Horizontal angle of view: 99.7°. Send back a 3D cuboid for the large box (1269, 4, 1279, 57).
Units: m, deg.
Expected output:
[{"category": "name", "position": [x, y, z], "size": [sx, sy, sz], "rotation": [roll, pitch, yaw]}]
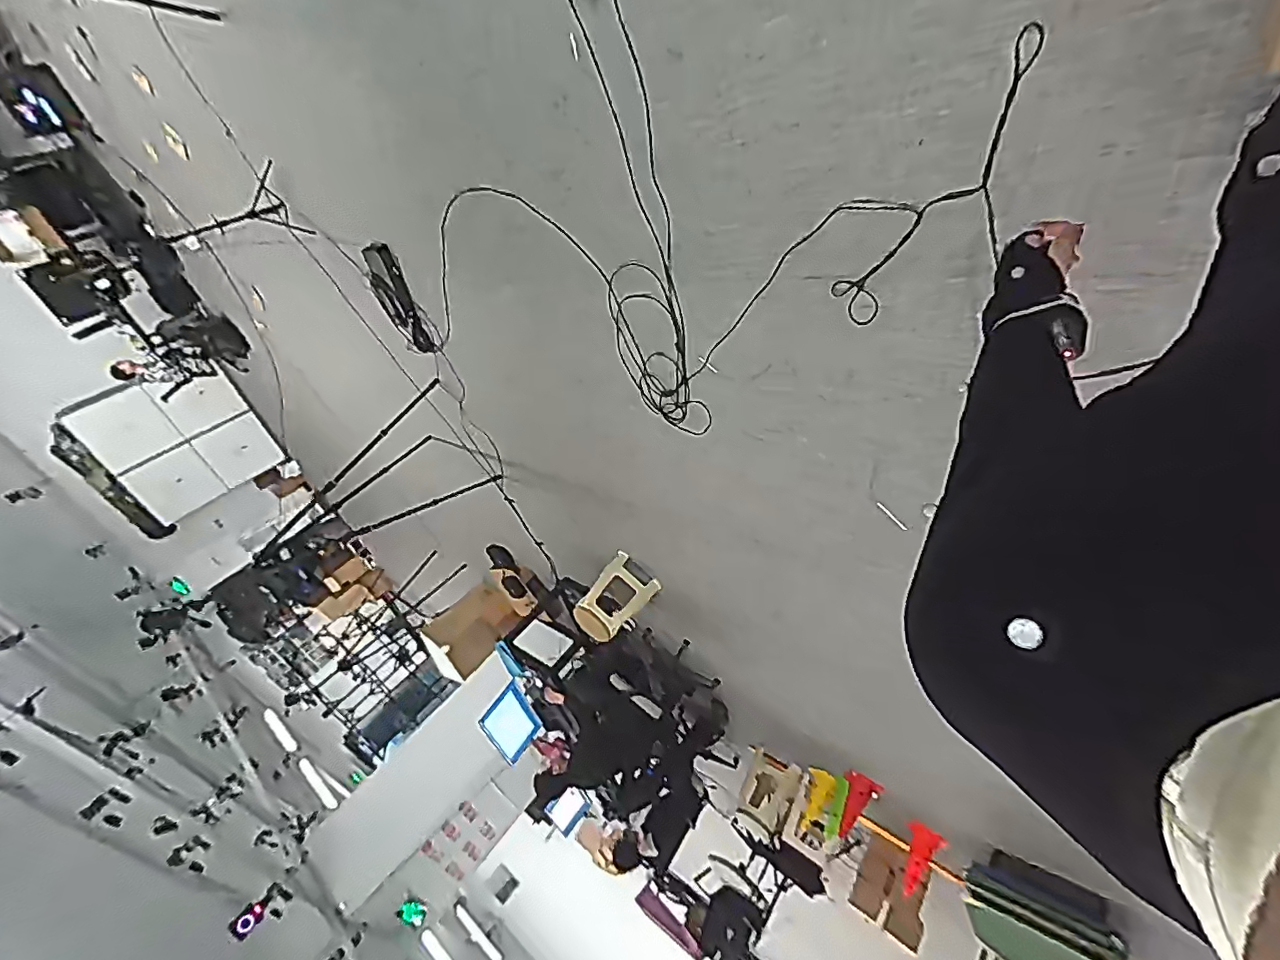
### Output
[{"category": "large box", "position": [1.090, -0.747, 0.632], "size": [0.408, 0.320, 0.320], "rotation": [14, 135, 38]}]
